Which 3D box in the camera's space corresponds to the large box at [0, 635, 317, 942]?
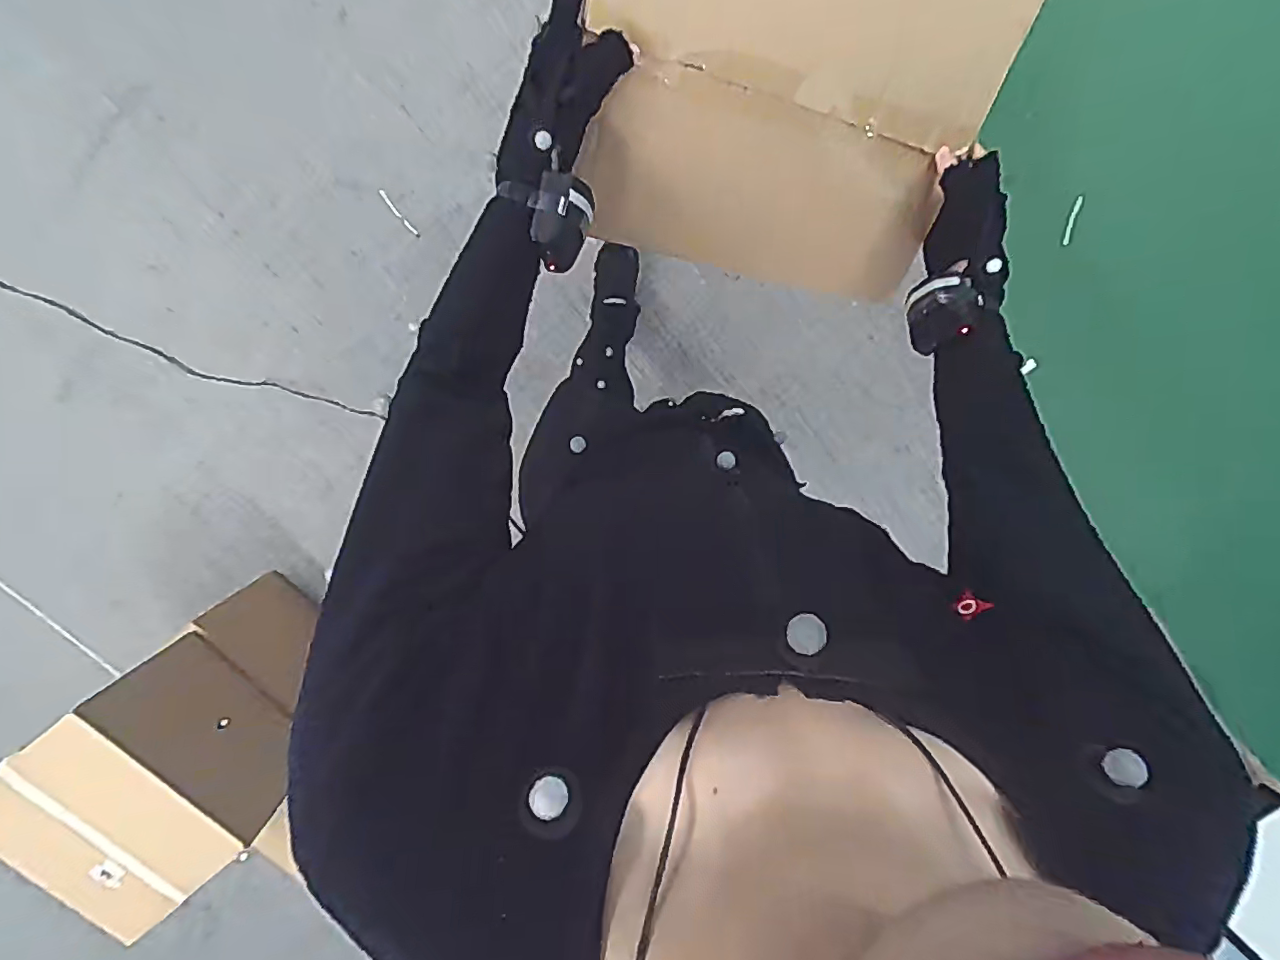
[{"bbox_3d":[-1.000,0.614,1.129,0.320,0.320,0.408,-39,103,2],"label":"large box"}]
